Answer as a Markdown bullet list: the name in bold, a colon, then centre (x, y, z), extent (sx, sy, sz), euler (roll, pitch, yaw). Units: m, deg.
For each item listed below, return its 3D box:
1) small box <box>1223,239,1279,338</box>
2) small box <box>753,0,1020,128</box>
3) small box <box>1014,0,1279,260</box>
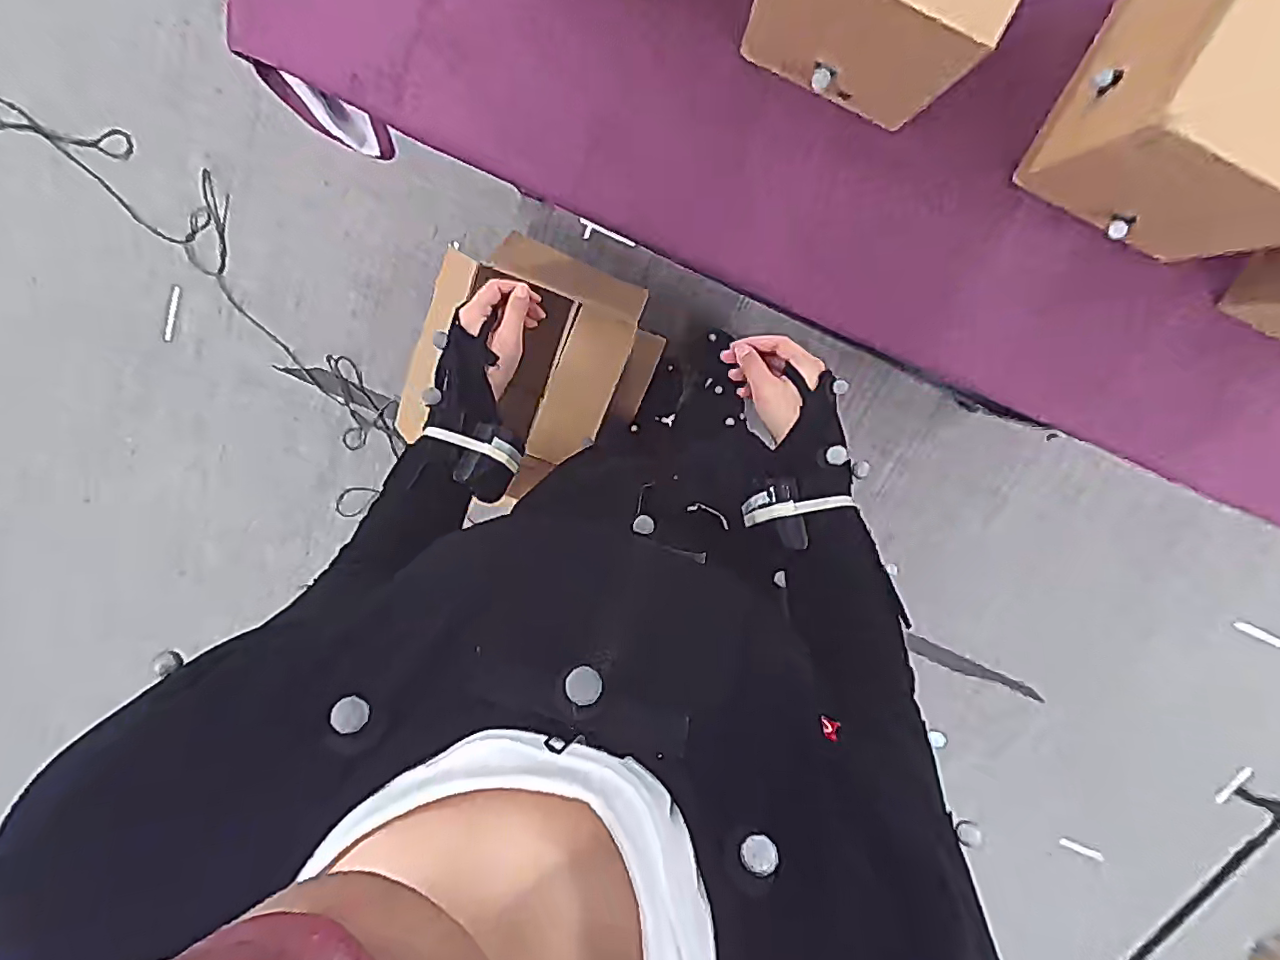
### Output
- **small box**: centre (0.684, -0.191, 0.451), extent (0.179, 0.176, 0.168), euler (25, 103, -4)
- **small box**: centre (0.202, -0.419, 0.414), extent (0.168, 0.176, 0.179), euler (24, 106, -4)
- **small box**: centre (0.466, -0.302, 0.430), extent (0.179, 0.176, 0.168), euler (25, 104, -4)
